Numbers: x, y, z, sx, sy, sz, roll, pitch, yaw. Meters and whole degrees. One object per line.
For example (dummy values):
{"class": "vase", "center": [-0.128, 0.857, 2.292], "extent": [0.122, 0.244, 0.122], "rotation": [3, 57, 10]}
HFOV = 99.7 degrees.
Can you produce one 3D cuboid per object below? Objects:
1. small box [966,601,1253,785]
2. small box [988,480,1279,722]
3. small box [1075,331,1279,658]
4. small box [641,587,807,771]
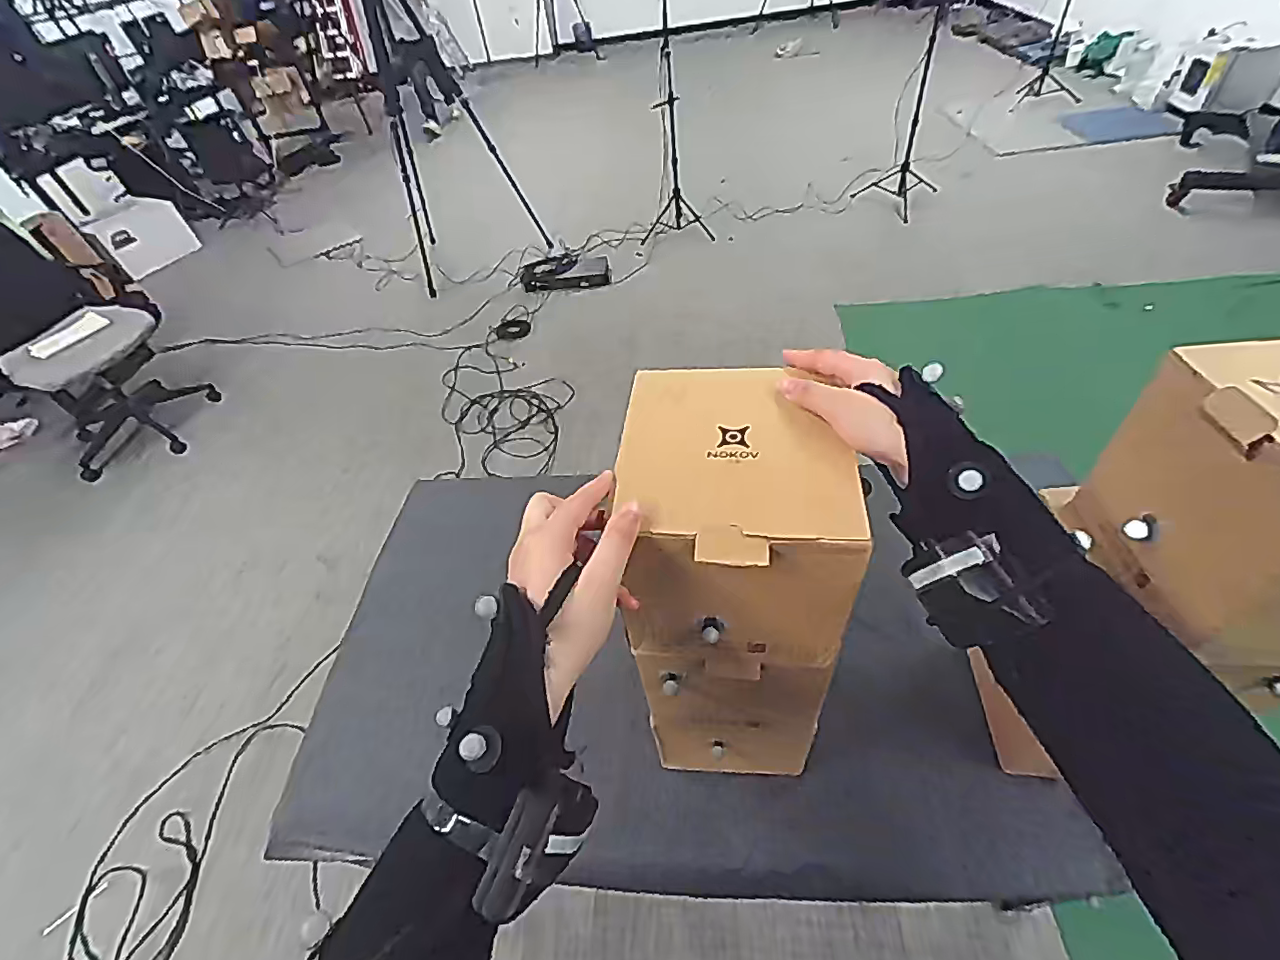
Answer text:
{"class": "small box", "center": [0.505, 0.225, 0.624], "extent": [0.168, 0.176, 0.179], "rotation": [0, 47, 11]}
{"class": "small box", "center": [0.474, 0.113, 0.511], "extent": [0.179, 0.176, 0.168], "rotation": [-6, 44, 6]}
{"class": "small box", "center": [0.466, 0.012, 0.377], "extent": [0.179, 0.176, 0.168], "rotation": [-1, 44, 9]}
{"class": "small box", "center": [0.104, 0.248, 0.674], "extent": [0.179, 0.176, 0.168], "rotation": [-2, 47, 8]}
